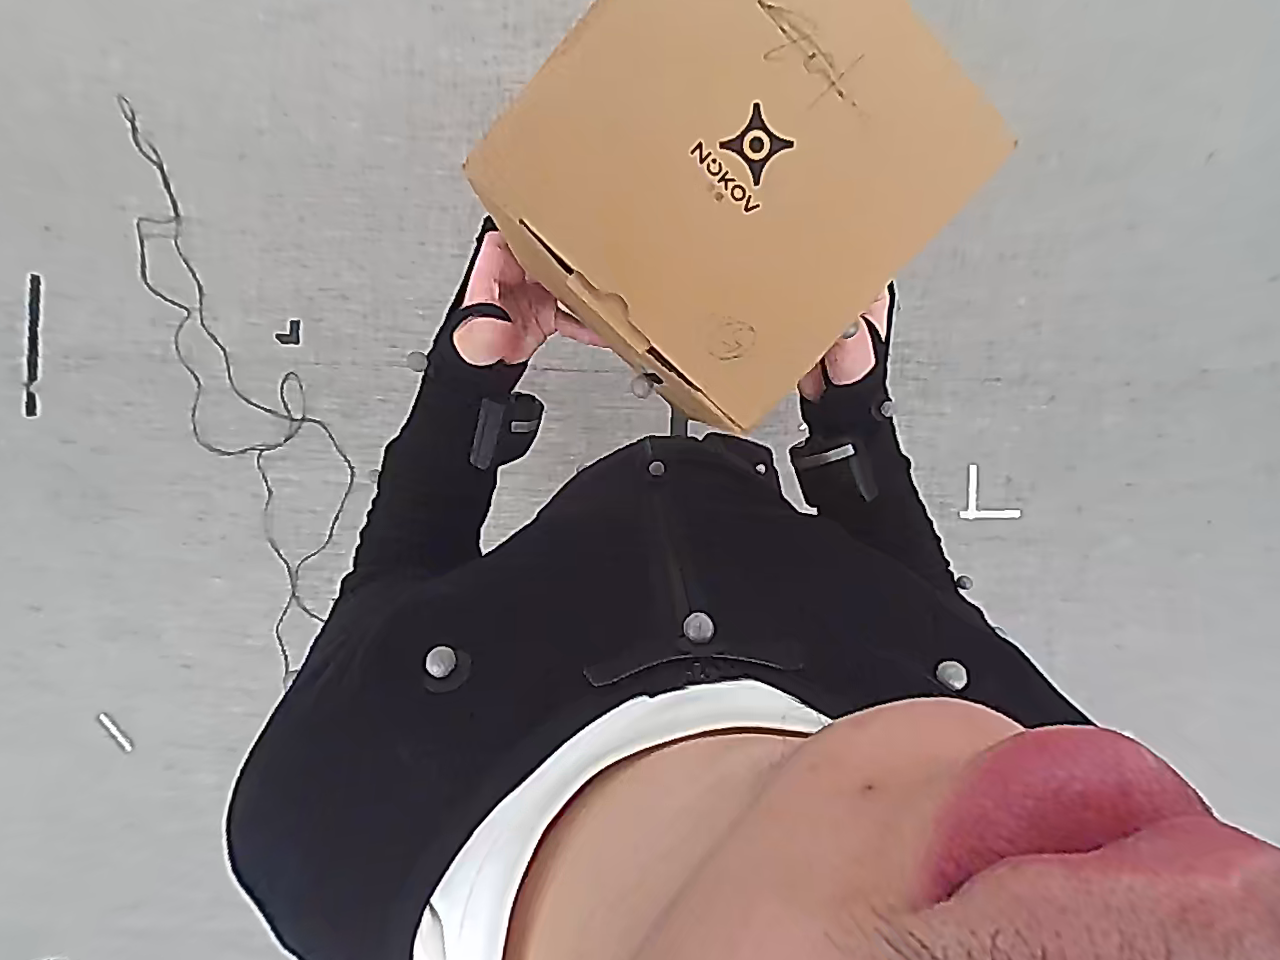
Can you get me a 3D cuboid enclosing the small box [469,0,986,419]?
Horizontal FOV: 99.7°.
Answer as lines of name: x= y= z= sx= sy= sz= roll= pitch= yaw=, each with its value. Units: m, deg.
small box: x=0.036 y=-0.155 z=0.315 sx=0.168 sy=0.176 sz=0.179 roll=40 pitch=94 yaw=-10
